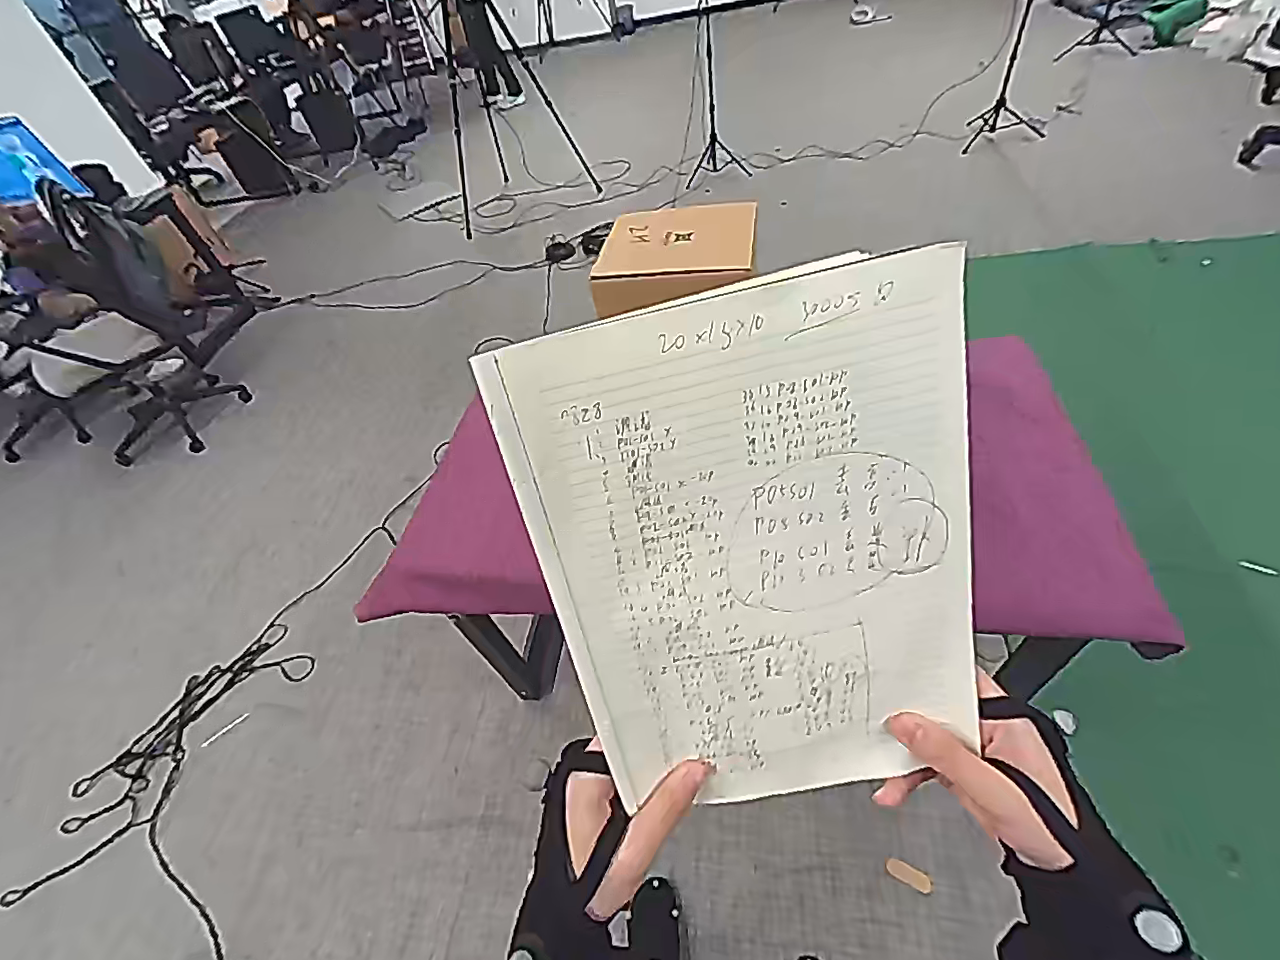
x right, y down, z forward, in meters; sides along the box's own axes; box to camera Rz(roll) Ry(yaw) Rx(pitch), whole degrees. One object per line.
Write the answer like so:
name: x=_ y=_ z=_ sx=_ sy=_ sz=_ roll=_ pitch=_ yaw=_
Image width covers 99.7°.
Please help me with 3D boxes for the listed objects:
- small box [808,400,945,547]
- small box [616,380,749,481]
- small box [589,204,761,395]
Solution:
small box: x=0.364 y=-0.008 z=0.866 sx=0.168 sy=0.176 sz=0.179 roll=1 pitch=48 yaw=12
small box: x=0.073 y=-0.112 z=0.798 sx=0.168 sy=0.176 sz=0.179 roll=0 pitch=48 yaw=12
small box: x=0.056 y=-0.218 z=0.671 sx=0.179 sy=0.176 sz=0.168 roll=2 pitch=48 yaw=14
